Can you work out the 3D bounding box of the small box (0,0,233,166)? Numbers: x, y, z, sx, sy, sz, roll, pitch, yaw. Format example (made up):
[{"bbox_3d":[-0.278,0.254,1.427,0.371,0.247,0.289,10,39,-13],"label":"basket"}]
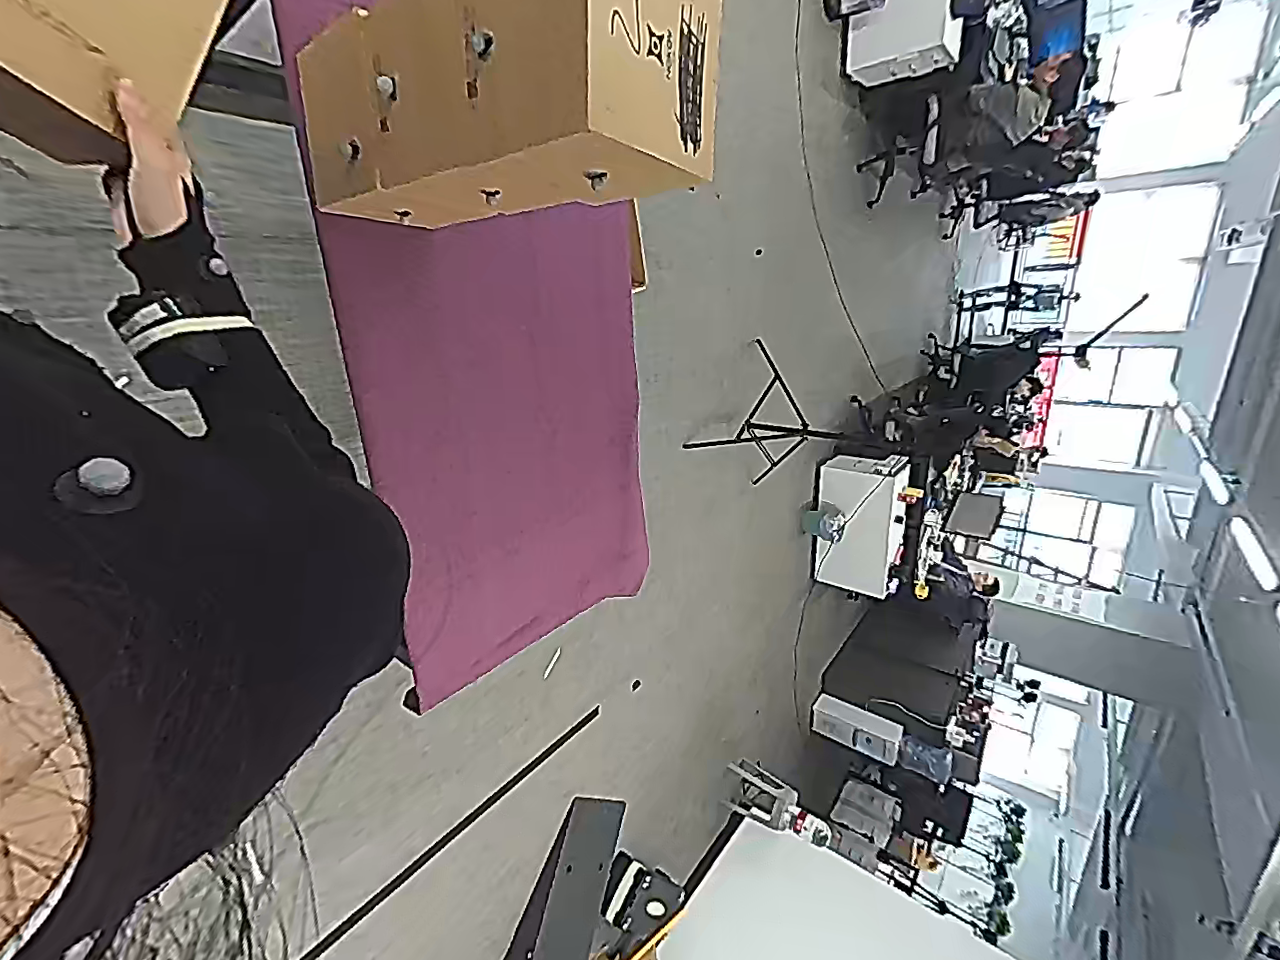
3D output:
[{"bbox_3d":[-0.426,-0.348,0.367,0.168,0.176,0.179,24,82,-64],"label":"small box"}]

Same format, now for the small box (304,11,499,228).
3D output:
[{"bbox_3d":[-0.301,-0.434,0.692,0.168,0.176,0.179,-18,113,-49],"label":"small box"}]

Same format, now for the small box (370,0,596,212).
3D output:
[{"bbox_3d":[-0.168,-0.405,0.600,0.179,0.176,0.168,-18,114,-47],"label":"small box"}]
